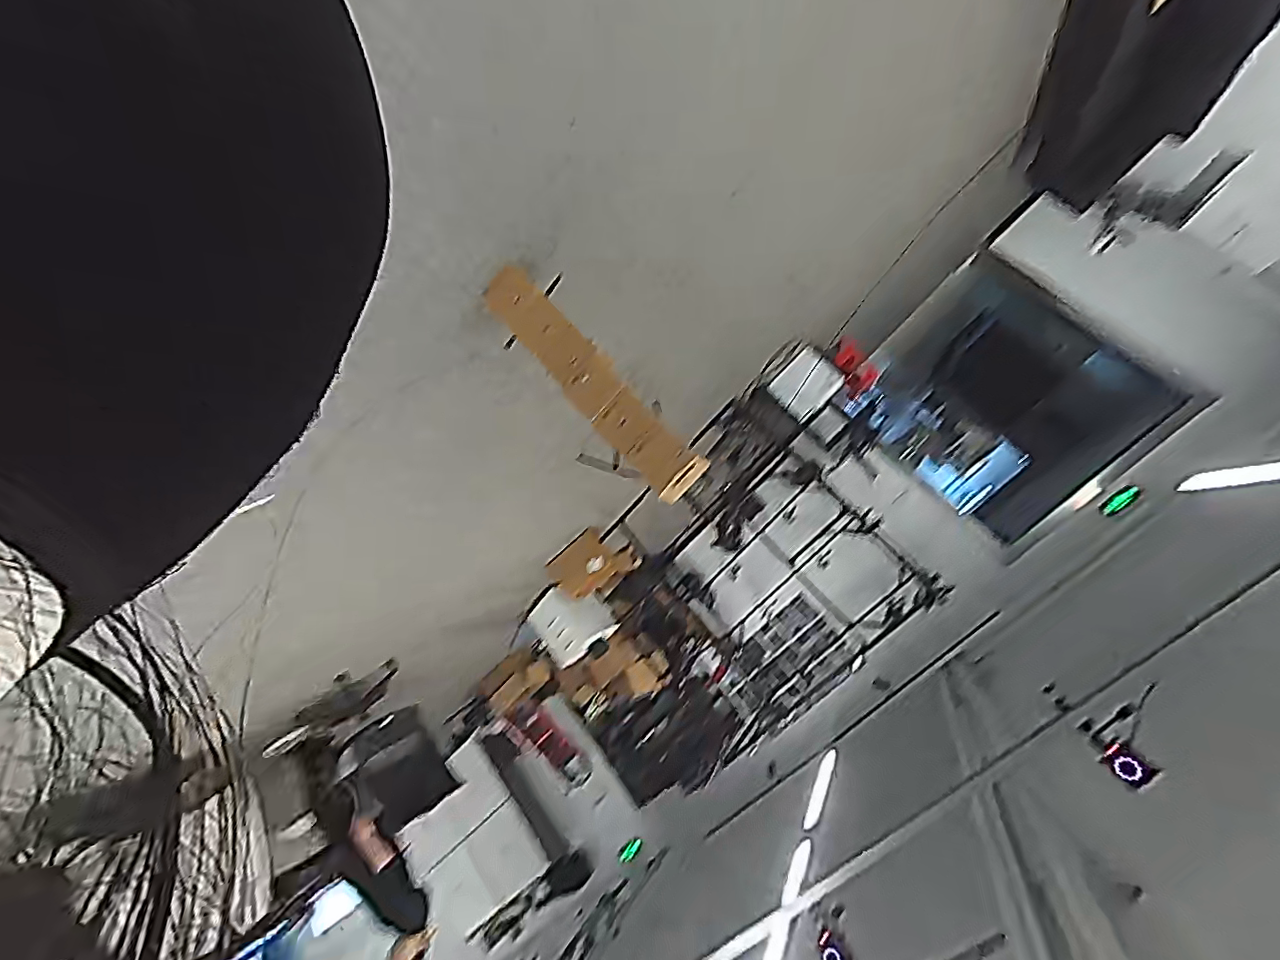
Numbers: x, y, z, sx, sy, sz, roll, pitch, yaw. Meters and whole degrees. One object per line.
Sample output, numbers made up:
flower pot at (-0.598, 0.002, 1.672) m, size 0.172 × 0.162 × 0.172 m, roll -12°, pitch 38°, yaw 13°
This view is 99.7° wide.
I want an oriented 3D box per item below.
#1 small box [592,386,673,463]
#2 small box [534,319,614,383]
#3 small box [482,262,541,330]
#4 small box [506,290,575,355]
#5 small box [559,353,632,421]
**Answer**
small box at (-0.026, -0.181, 1.754) m, size 0.168 × 0.176 × 0.179 m, roll -47°, pitch 158°, yaw 10°
small box at (-0.228, -0.418, 1.859) m, size 0.179 × 0.176 × 0.168 m, roll -45°, pitch 159°, yaw 8°
small box at (-0.443, -0.645, 1.954) m, size 0.179 × 0.176 × 0.168 m, roll -45°, pitch 160°, yaw 8°
small box at (-0.334, -0.530, 1.906) m, size 0.179 × 0.176 × 0.168 m, roll -44°, pitch 159°, yaw 5°
small box at (-0.134, -0.295, 1.802) m, size 0.168 × 0.176 × 0.179 m, roll -46°, pitch 158°, yaw 7°
